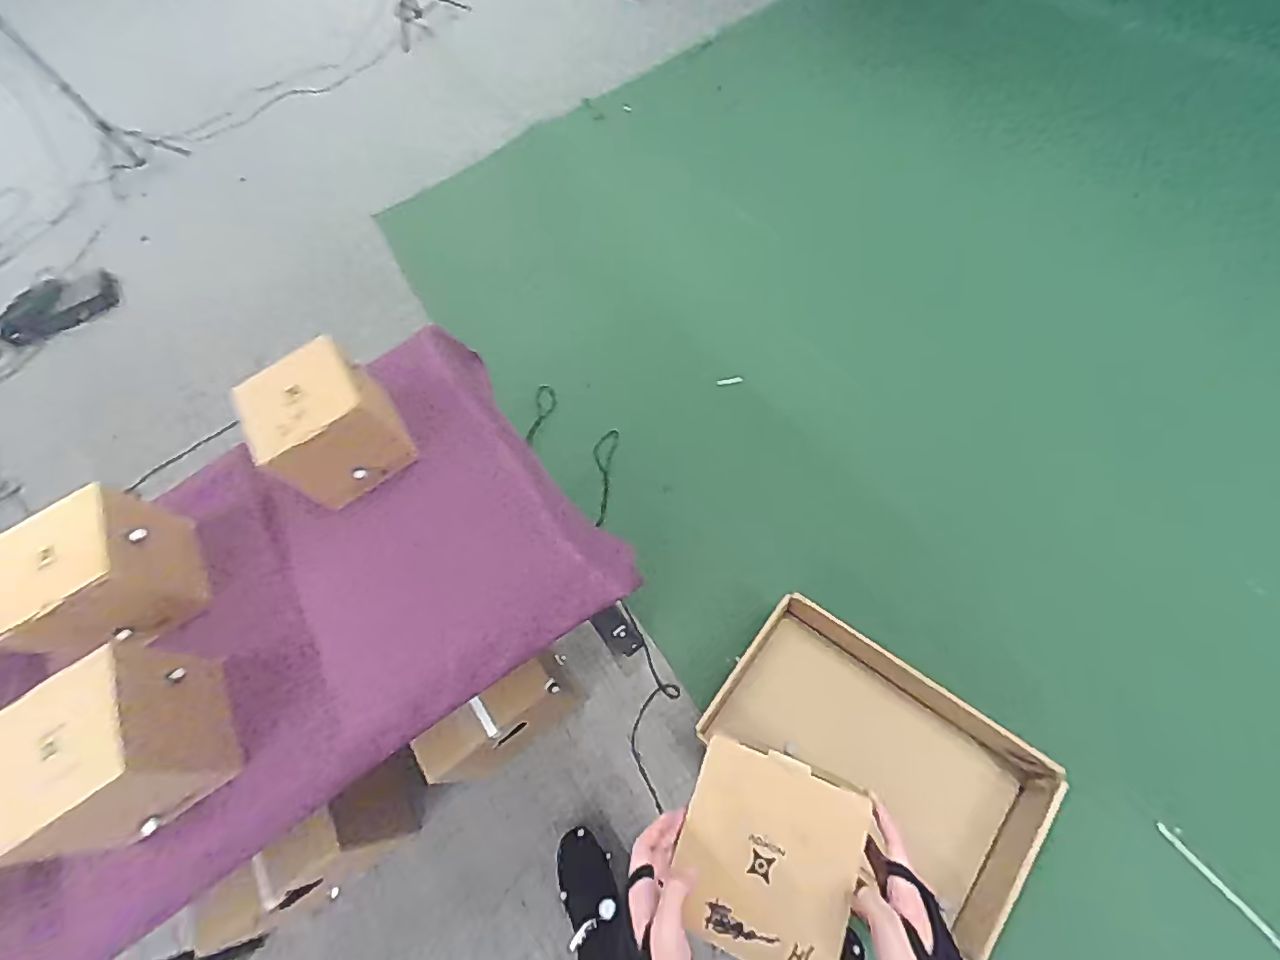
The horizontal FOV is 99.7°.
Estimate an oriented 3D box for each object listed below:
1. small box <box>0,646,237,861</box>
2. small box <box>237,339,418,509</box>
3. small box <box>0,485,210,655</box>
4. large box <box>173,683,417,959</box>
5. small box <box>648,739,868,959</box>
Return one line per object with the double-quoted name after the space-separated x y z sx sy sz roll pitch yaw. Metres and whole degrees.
-0.661 0.343 0.684 0.168 0.176 0.179 -33 62 -7 "small box"
-0.495 -0.084 0.873 0.168 0.176 0.179 -34 63 -6 "small box"
-0.801 0.145 0.814 0.168 0.176 0.179 -33 63 -8 "small box"
-0.791 0.750 1.251 0.320 0.320 0.408 -34 61 -9 "large box"
0.127 0.395 0.578 0.168 0.176 0.179 16 72 20 "small box"
